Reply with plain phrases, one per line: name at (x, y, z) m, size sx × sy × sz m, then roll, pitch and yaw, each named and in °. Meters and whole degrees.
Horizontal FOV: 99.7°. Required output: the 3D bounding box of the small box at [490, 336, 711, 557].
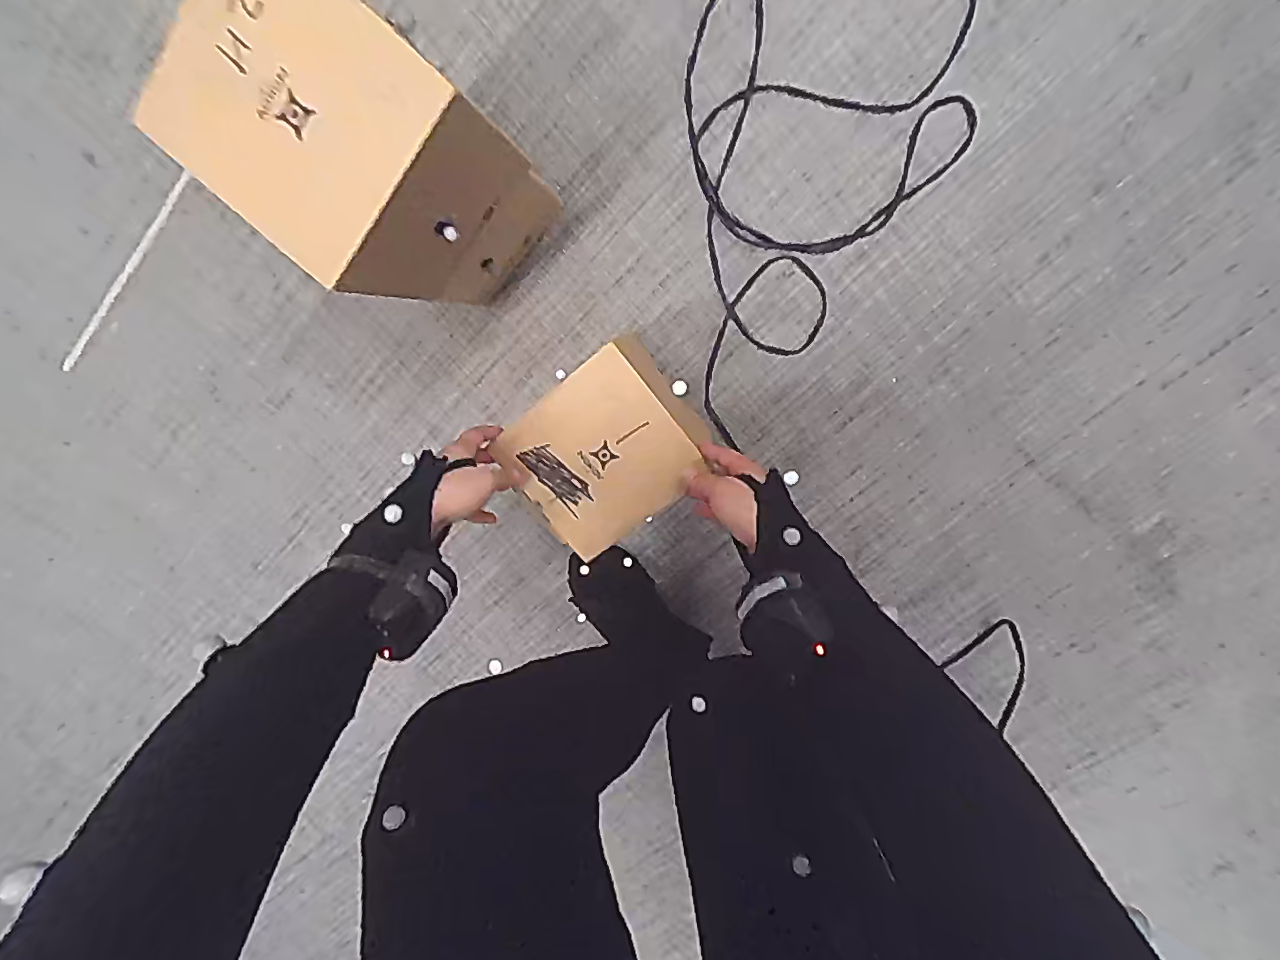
small box at (-0.034, -0.048, 0.629) m, size 0.179 × 0.176 × 0.168 m, roll -38°, pitch 101°, yaw 15°

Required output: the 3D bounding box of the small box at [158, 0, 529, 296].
small box at (-0.222, -0.274, 0.453) m, size 0.179 × 0.176 × 0.168 m, roll 42°, pitch 105°, yaw -5°

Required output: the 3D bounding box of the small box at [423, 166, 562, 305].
small box at (-0.214, -0.320, 0.611) m, size 0.179 × 0.176 × 0.168 m, roll 43°, pitch 105°, yaw -6°
